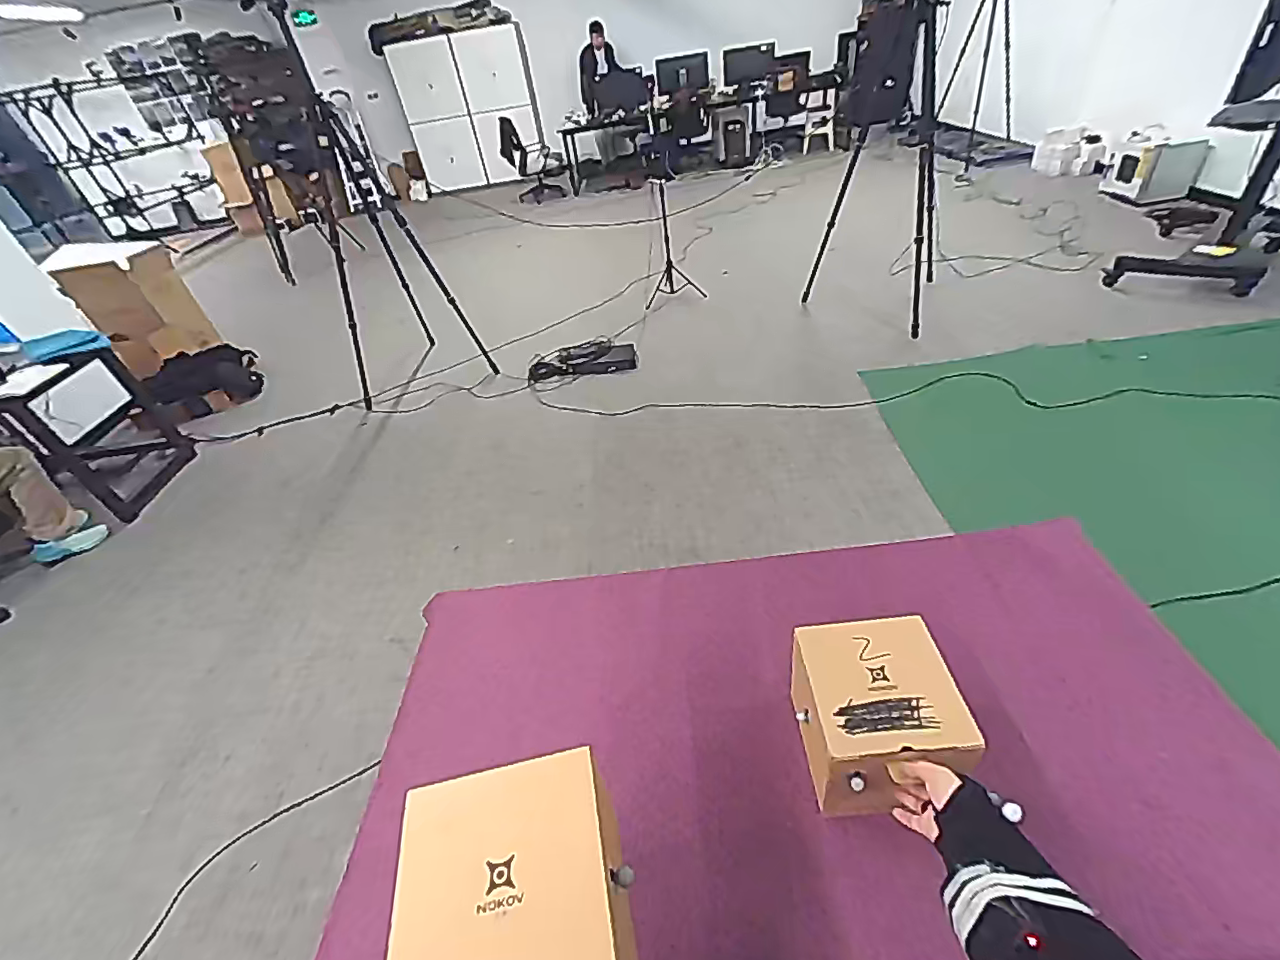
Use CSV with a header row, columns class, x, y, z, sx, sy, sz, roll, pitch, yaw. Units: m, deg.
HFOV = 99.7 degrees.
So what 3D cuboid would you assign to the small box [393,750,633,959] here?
class,x,y,z,sx,sy,sz,roll,pitch,yaw
small box,-0.102,0.381,0.484,0.168,0.176,0.179,-12,41,-5
